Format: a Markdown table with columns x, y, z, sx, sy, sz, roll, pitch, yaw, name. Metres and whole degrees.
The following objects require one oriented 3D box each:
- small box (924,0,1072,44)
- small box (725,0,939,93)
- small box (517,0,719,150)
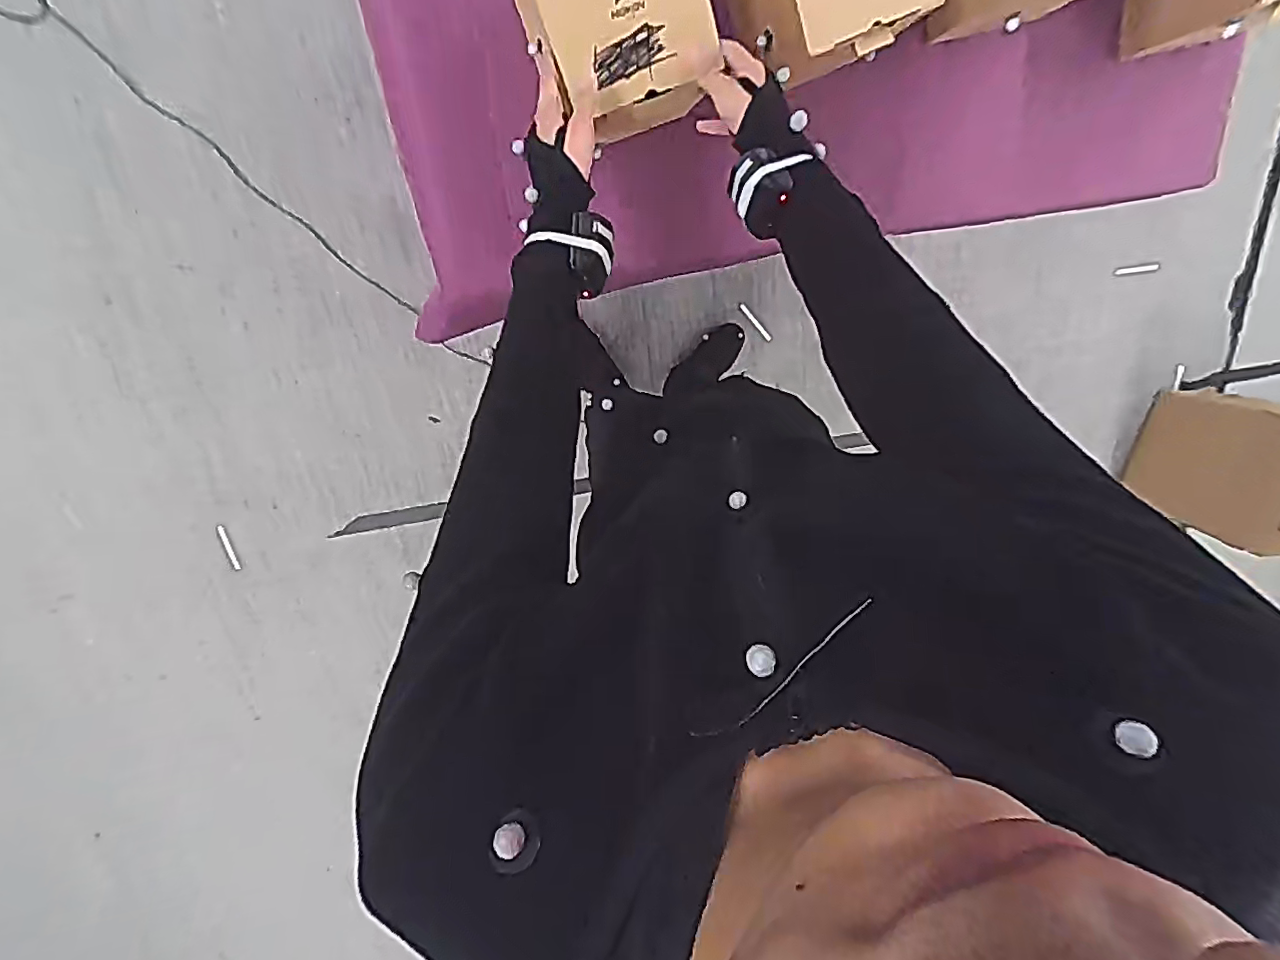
| x | y | z | sx | sy | sz | roll | pitch | yaw | name |
| --- | --- | --- | --- | --- | --- | --- | --- | --- | --- |
| 0.457 | -0.661 | 0.634 | 0.168 | 0.176 | 0.179 | -15 | 112 | -4 | small box |
| 0.205 | -0.579 | 0.619 | 0.168 | 0.176 | 0.179 | -23 | 112 | -2 | small box |
| -0.031 | -0.494 | 0.603 | 0.168 | 0.176 | 0.179 | -22 | 112 | -2 | small box |
